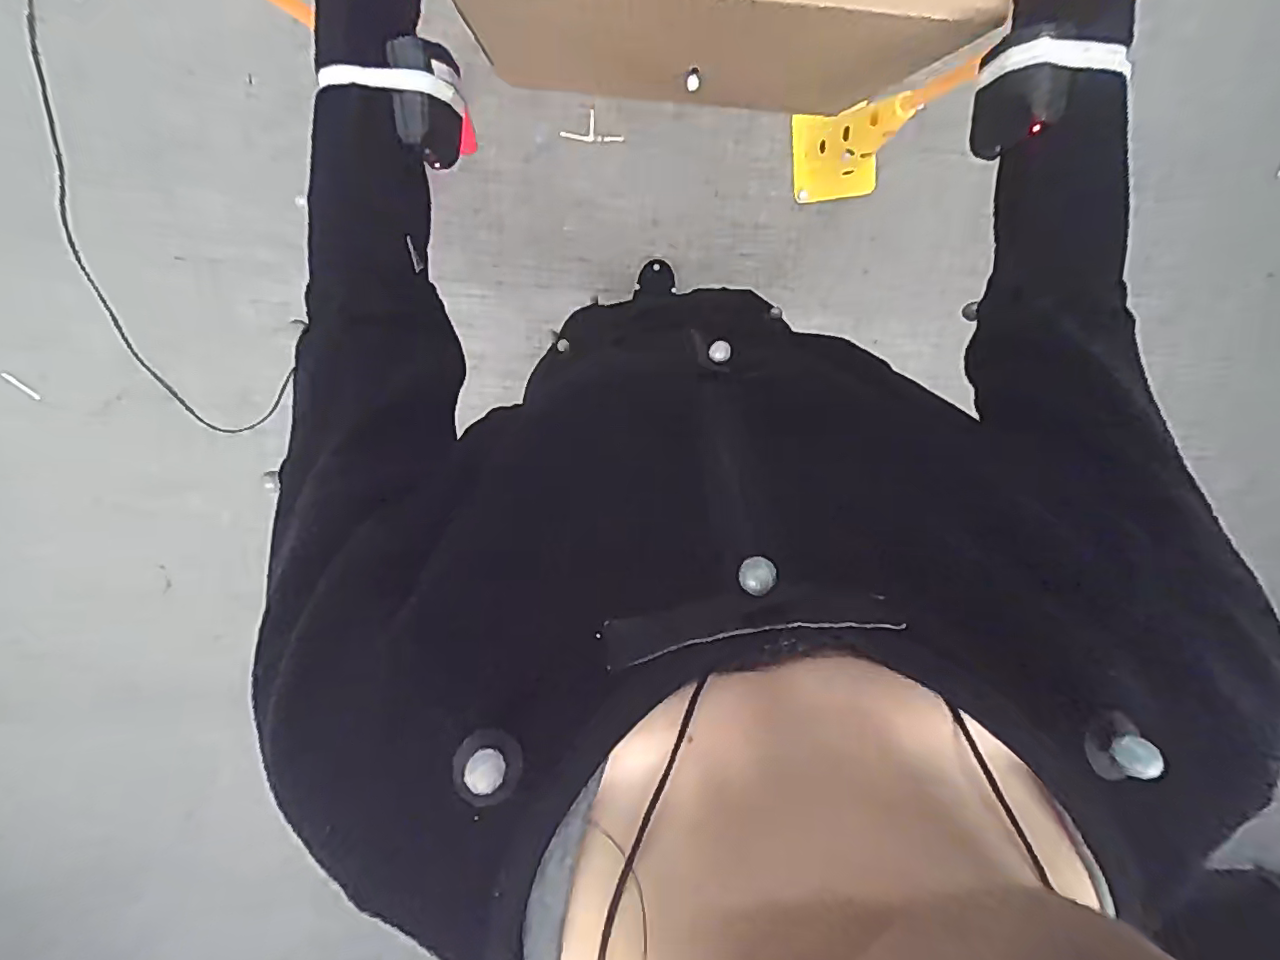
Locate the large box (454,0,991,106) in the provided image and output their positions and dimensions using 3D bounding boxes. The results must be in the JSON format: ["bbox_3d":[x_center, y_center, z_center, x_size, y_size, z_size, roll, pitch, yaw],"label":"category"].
[{"bbox_3d":[0.059,-0.539,0.462,0.408,0.320,0.320,1,113,-4],"label":"large box"}]
